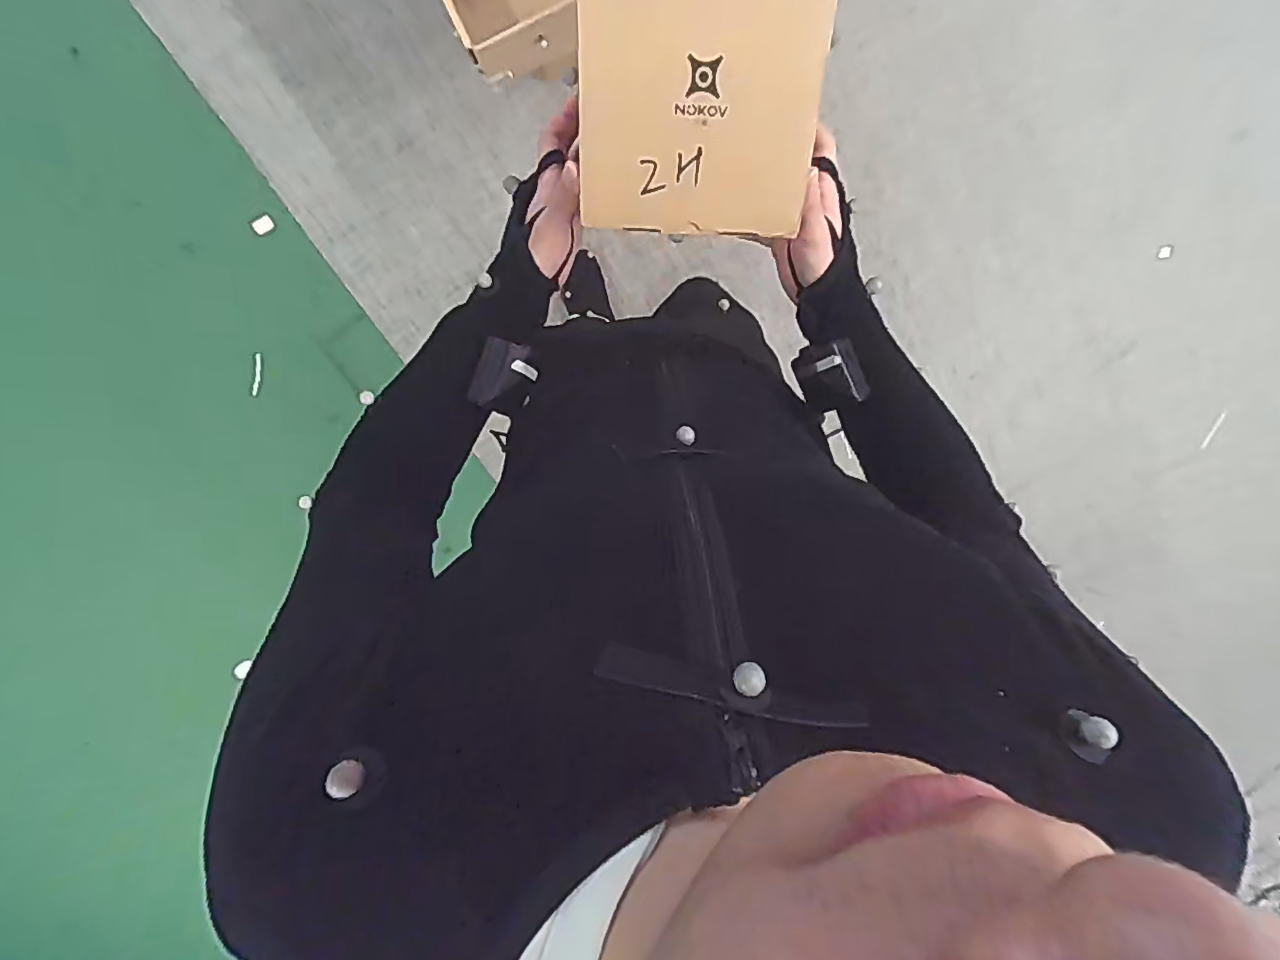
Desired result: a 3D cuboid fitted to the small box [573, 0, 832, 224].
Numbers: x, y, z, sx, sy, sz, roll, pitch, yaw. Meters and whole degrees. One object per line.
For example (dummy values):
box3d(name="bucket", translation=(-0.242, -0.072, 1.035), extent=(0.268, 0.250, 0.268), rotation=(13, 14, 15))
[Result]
box3d(name="small box", translation=(0.036, -0.307, 0.425), extent=(0.168, 0.176, 0.179), rotation=(2, 120, -1))
